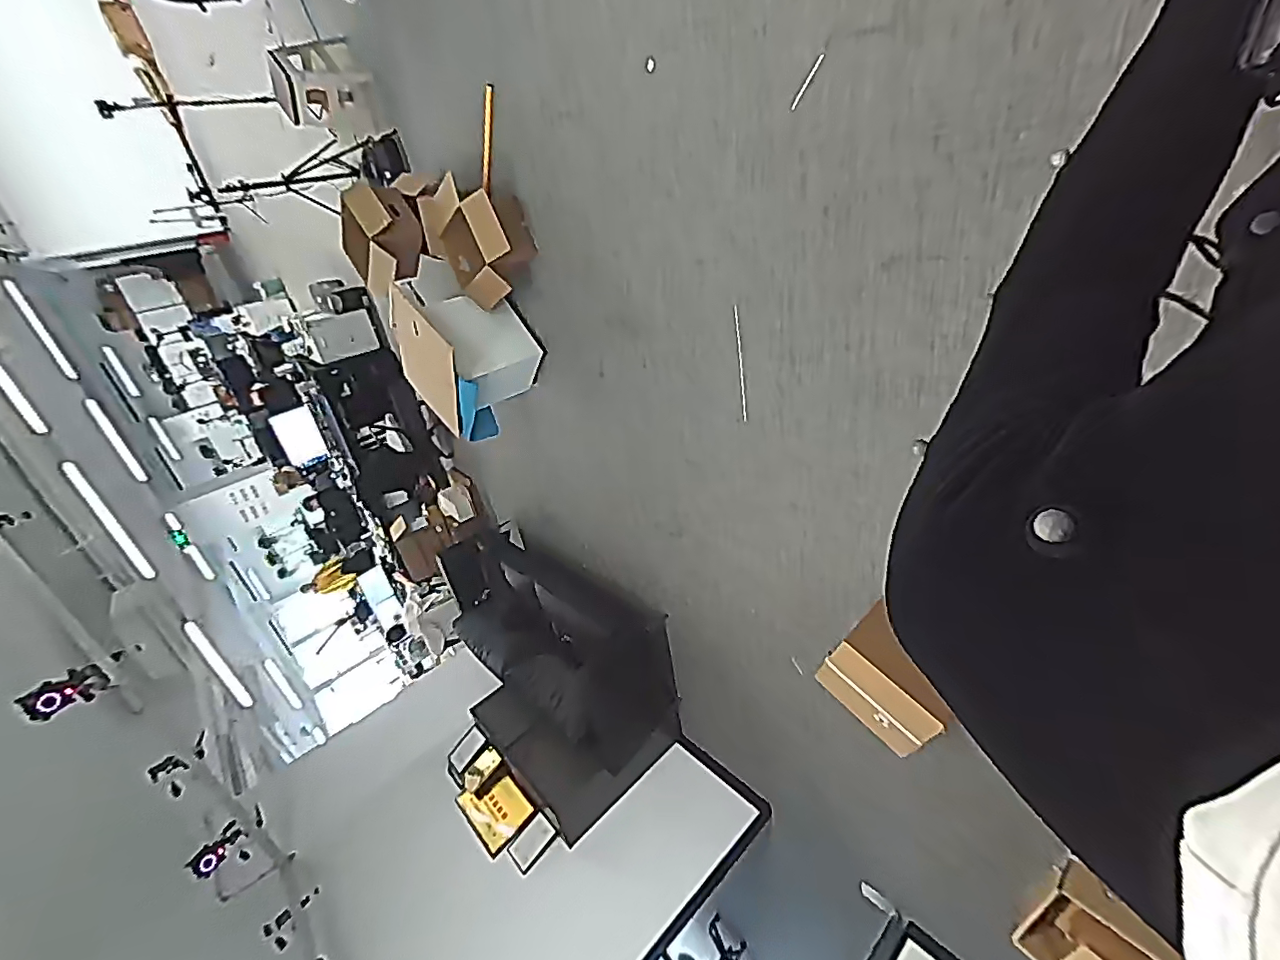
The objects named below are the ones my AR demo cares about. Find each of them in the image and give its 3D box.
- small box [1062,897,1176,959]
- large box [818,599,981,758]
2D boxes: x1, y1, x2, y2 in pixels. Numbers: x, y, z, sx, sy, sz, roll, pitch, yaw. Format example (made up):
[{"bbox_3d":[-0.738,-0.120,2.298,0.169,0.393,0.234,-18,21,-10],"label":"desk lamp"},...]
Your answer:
[{"bbox_3d":[1.246,1.250,1.409,0.168,0.176,0.179,29,135,39],"label":"small box"},{"bbox_3d":[0.963,0.735,2.037,0.408,0.320,0.320,40,143,26],"label":"large box"}]
